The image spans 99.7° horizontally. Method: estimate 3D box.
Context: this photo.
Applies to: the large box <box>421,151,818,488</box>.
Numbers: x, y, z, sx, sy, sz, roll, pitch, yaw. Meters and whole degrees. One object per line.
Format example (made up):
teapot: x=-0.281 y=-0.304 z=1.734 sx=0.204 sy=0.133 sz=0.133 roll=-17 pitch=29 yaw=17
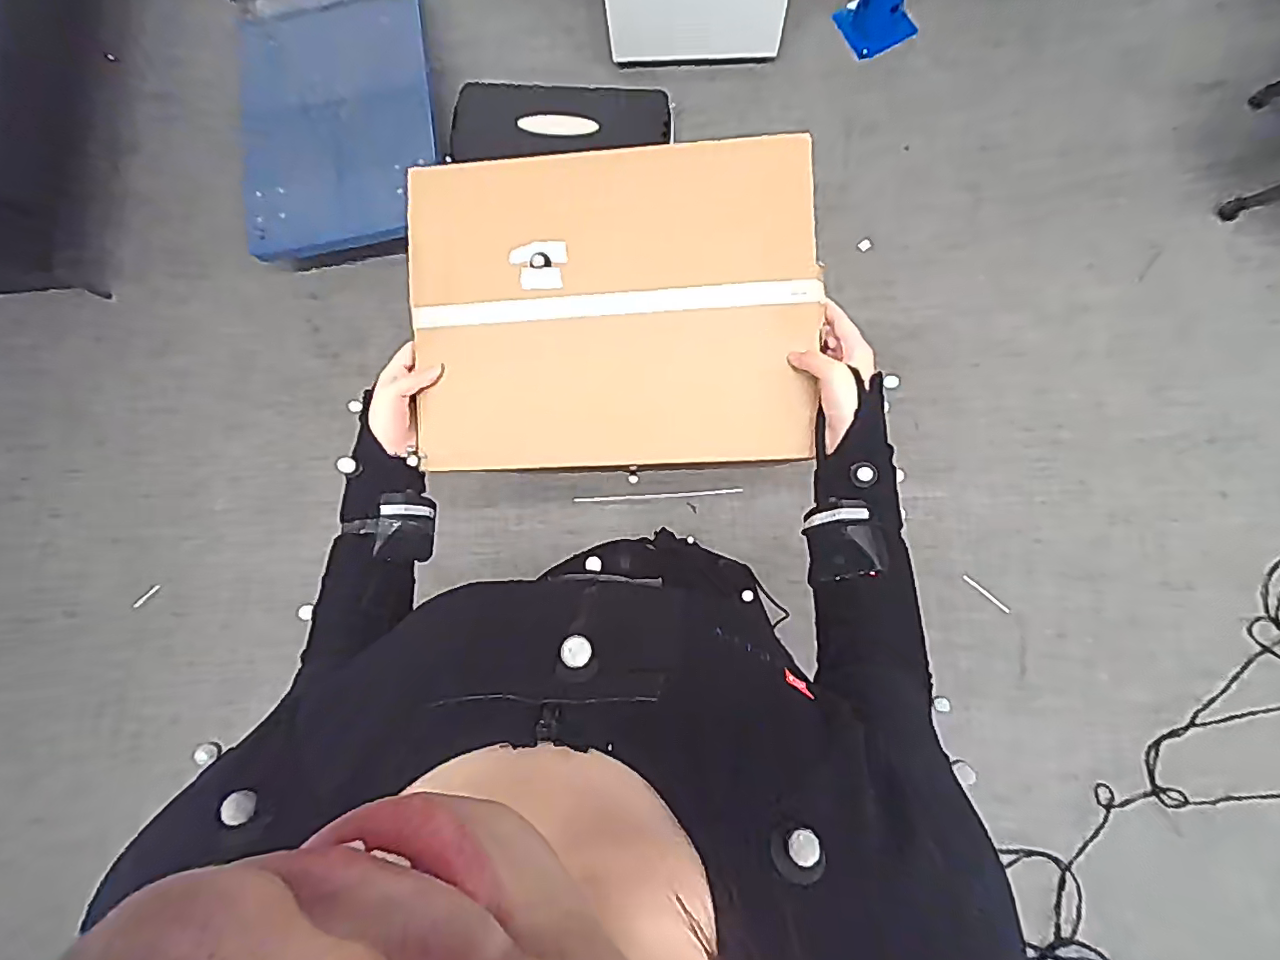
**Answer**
large box: x=-0.015 y=-0.199 z=0.702 sx=0.408 sy=0.320 sz=0.320 roll=9 pitch=104 yaw=9
